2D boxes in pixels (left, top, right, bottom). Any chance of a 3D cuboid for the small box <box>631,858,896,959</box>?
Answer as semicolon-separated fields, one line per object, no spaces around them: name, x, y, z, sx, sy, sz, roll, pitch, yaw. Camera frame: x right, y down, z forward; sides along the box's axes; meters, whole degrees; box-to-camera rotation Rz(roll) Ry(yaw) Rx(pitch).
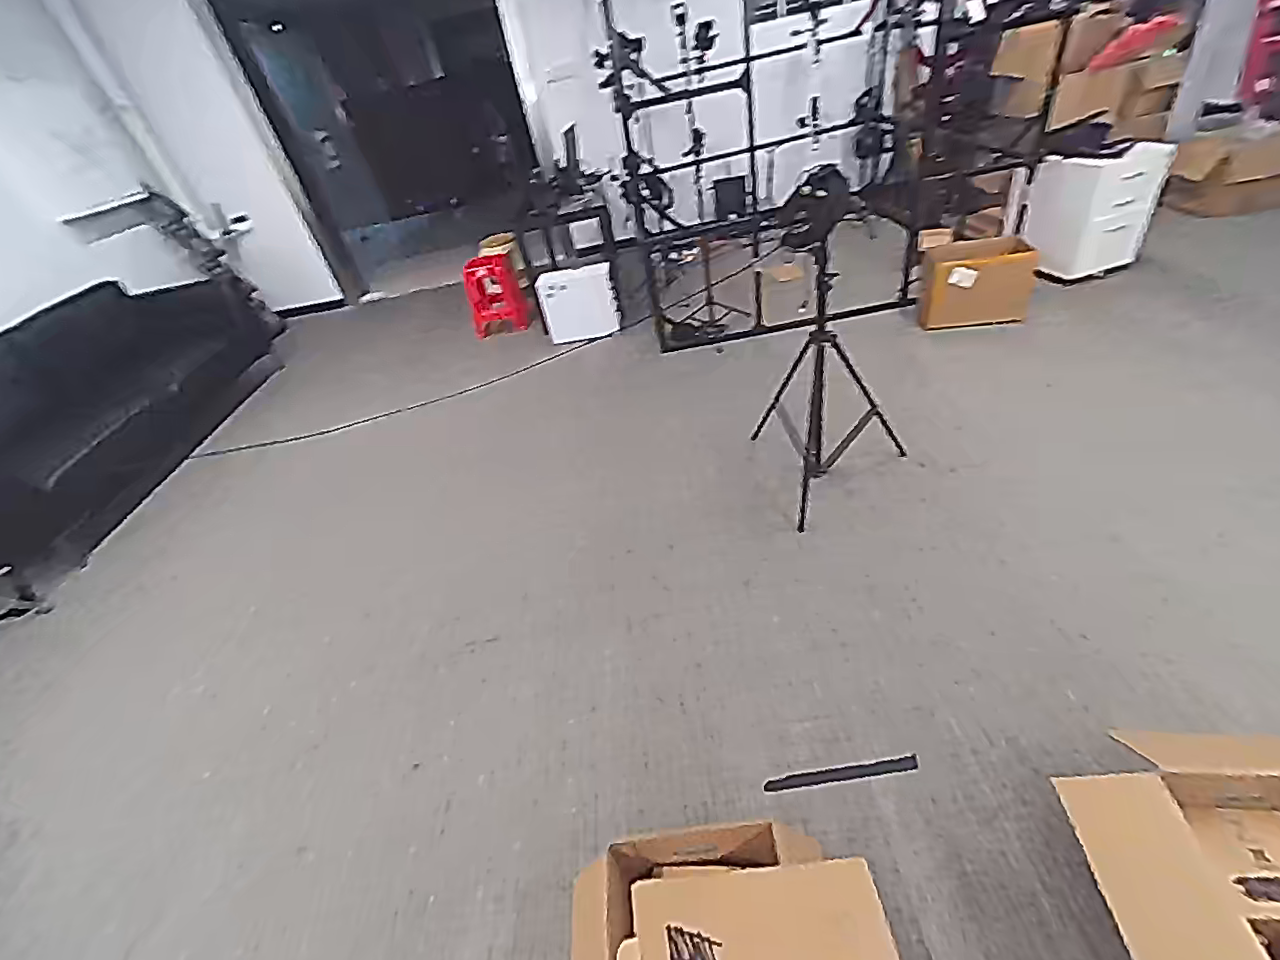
small box;0.091;0.402;0.394;0.179;0.176;0.168;-6;43;-2
